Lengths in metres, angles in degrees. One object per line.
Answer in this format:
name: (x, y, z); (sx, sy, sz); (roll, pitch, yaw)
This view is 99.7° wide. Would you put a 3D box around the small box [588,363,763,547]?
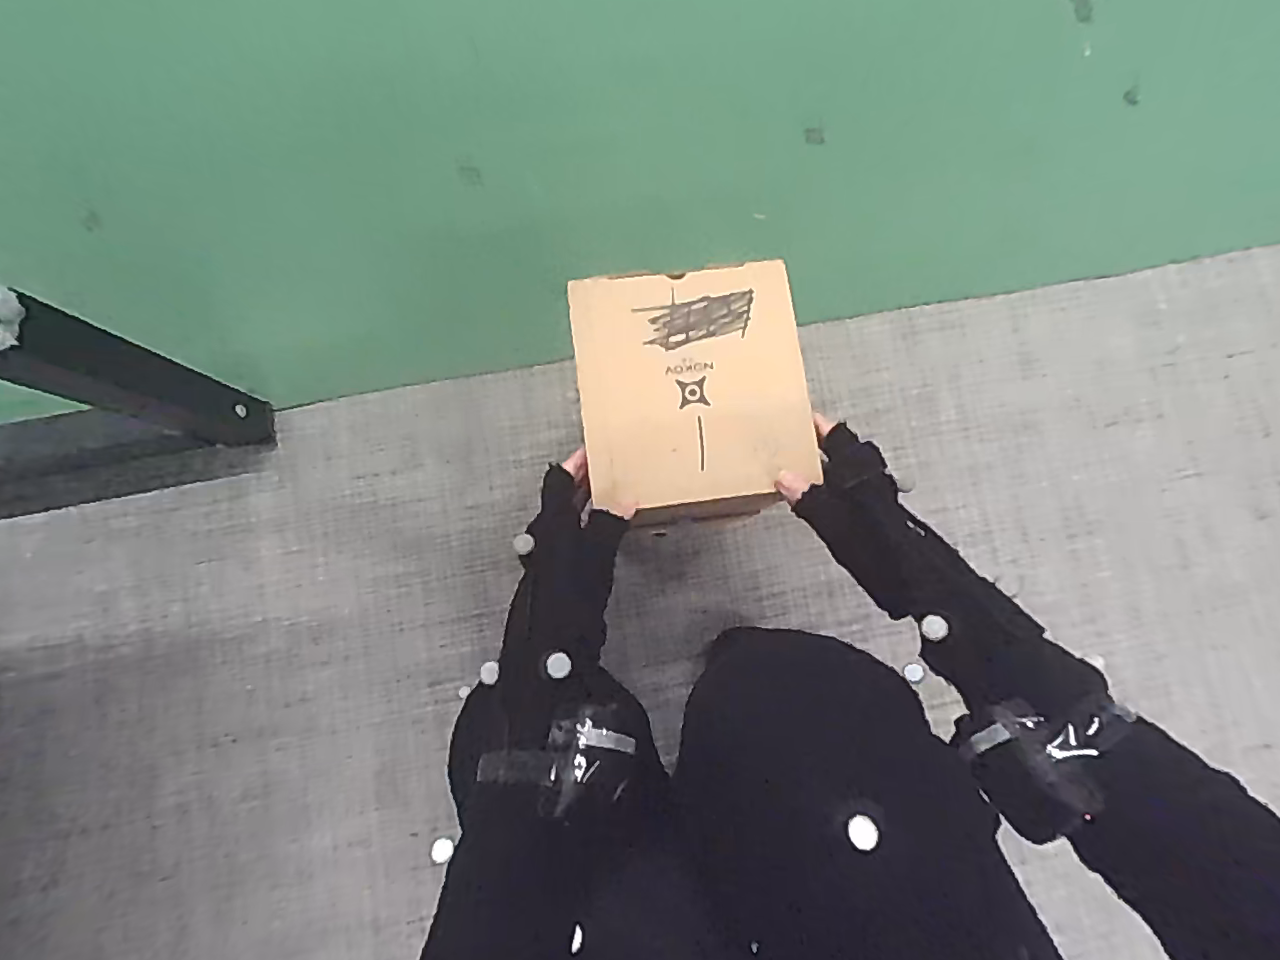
small box: (0.033, -0.018, 0.634); (0.168, 0.176, 0.179); (-8, 83, -2)
